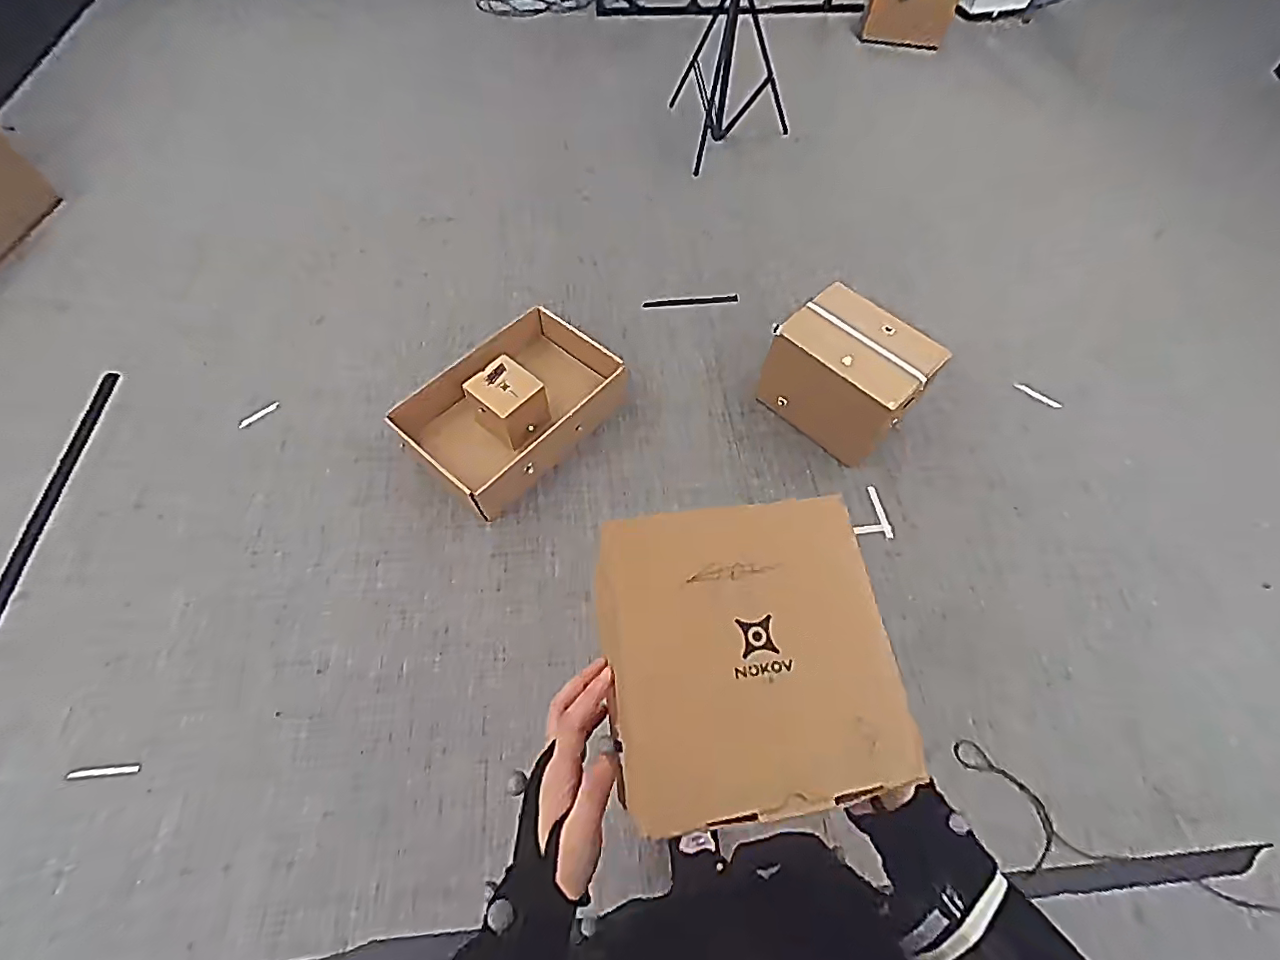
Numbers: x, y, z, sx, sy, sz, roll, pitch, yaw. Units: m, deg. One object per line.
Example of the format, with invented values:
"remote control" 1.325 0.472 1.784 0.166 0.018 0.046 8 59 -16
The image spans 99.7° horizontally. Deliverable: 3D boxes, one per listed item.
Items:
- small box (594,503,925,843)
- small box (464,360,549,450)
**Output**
"small box" 0.060 0.133 0.397 0.168 0.176 0.179 -5 66 -11
"small box" -0.399 -0.222 1.639 0.179 0.176 0.168 37 66 17
